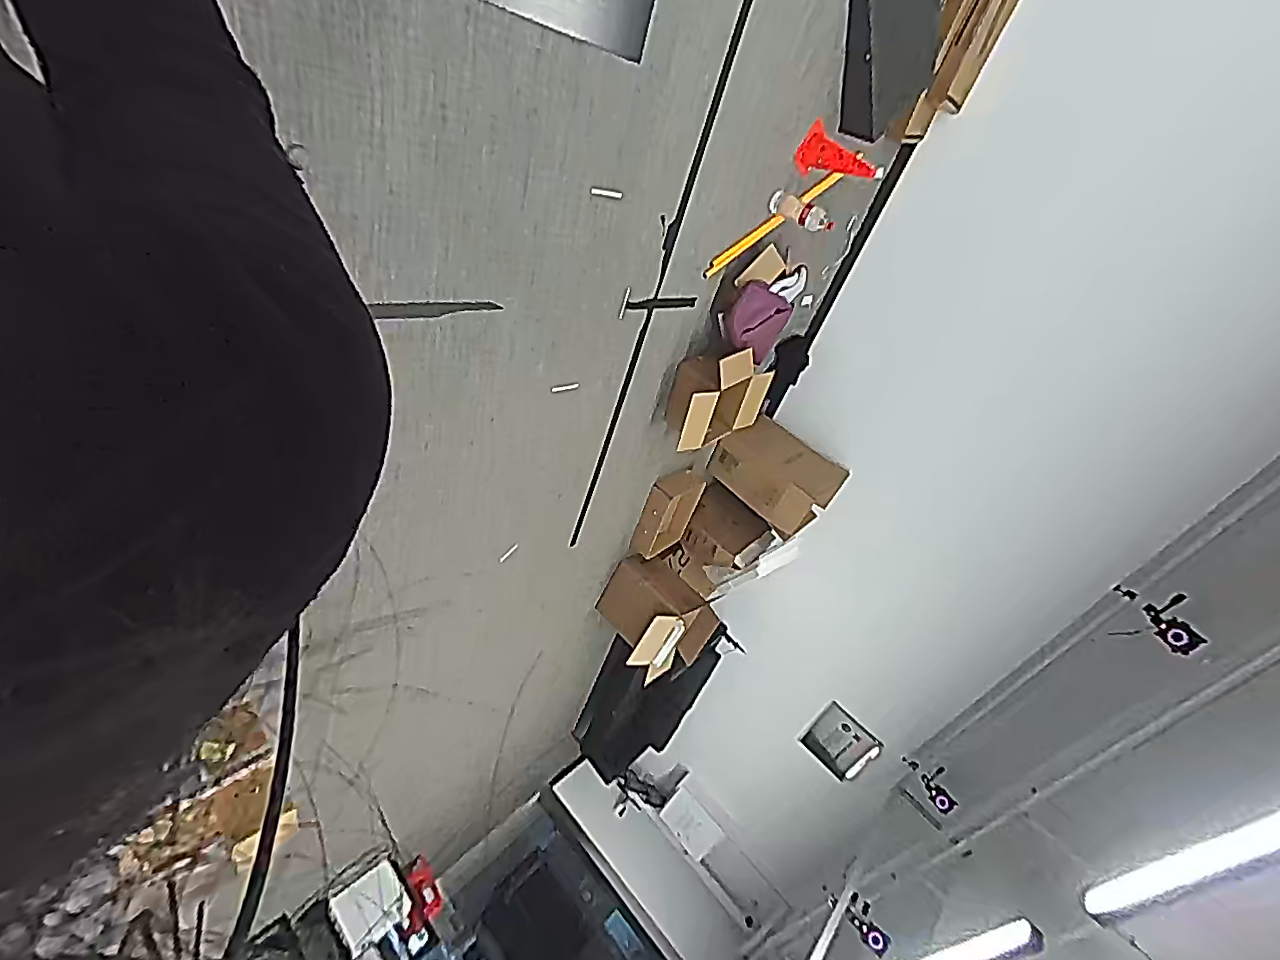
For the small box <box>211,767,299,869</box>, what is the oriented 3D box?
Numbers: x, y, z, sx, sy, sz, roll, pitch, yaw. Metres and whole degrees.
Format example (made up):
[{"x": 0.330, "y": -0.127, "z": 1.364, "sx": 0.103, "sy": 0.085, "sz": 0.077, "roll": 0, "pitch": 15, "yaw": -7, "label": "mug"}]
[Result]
[{"x": -1.171, "y": 1.021, "z": 1.648, "sx": 0.168, "sy": 0.176, "sz": 0.179, "roll": -25, "pitch": 141, "yaw": -45, "label": "small box"}]
